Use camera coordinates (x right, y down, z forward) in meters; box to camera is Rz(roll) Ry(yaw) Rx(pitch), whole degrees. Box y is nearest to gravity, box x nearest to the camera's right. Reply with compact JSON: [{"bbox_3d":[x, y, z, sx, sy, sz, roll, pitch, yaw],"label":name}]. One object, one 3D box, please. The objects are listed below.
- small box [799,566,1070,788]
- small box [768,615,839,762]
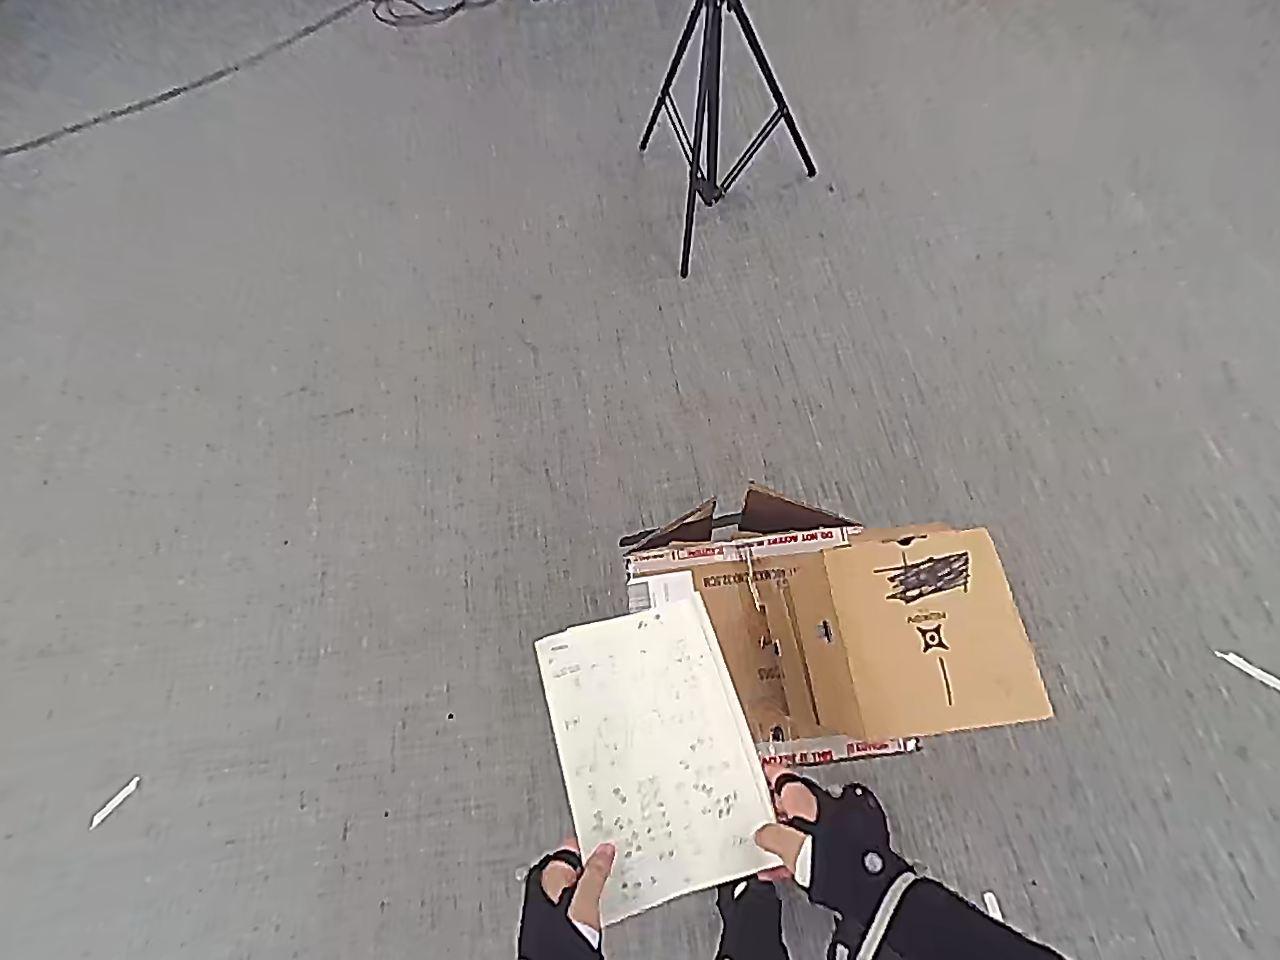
[{"bbox_3d":[0.275,0.198,0.558,0.168,0.176,0.179,-7,70,1],"label":"small box"},{"bbox_3d":[0.283,0.256,0.712,0.179,0.176,0.168,-11,69,0],"label":"small box"}]
